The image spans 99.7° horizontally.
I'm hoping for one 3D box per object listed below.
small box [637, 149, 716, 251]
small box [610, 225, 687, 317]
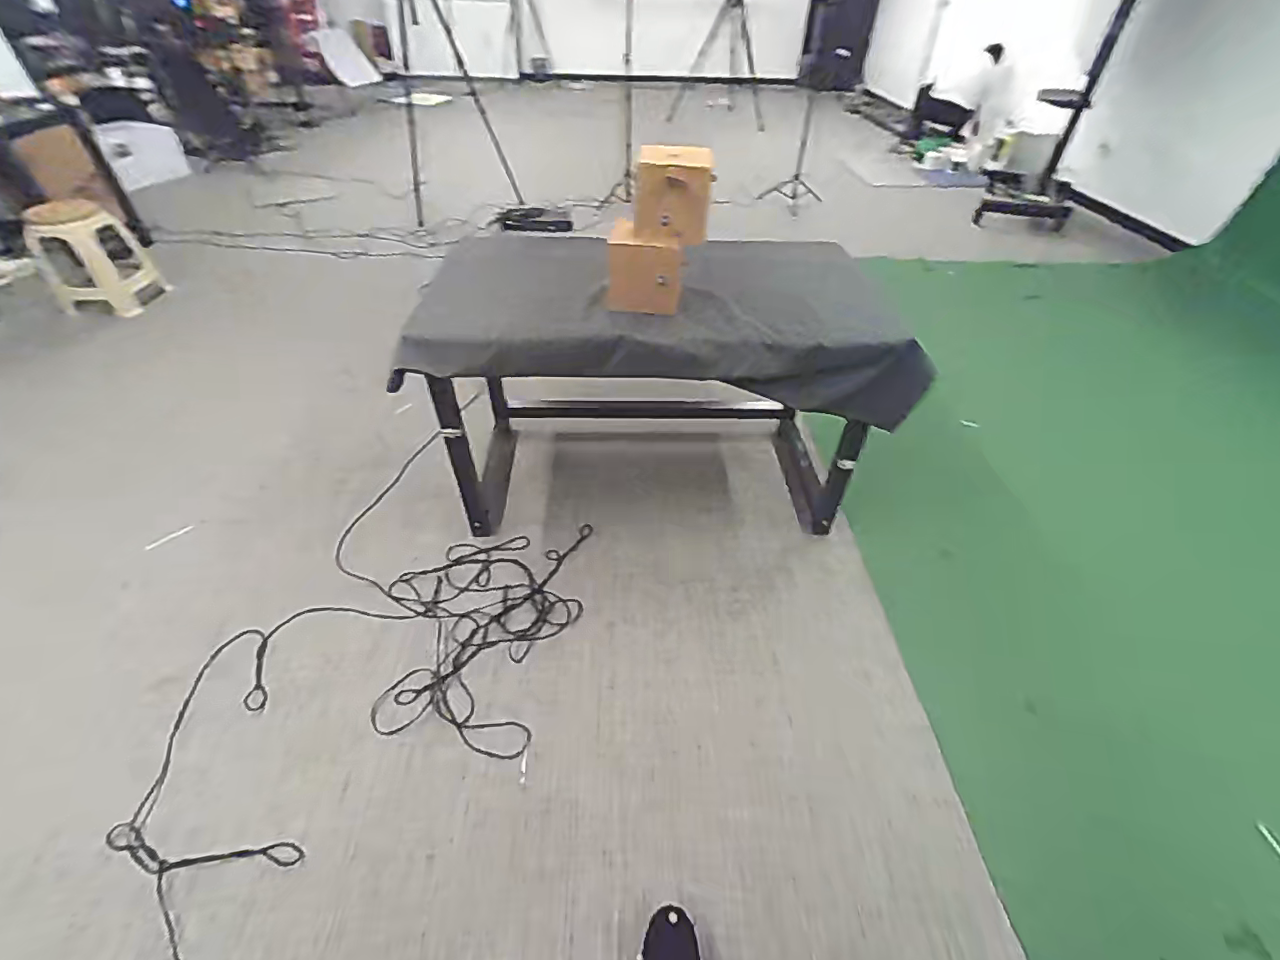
[{"bbox_3d":[0.083,-0.653,1.260,0.168,0.176,0.179,4,43,2],"label":"small box"},{"bbox_3d":[0.023,-0.520,1.351,0.179,0.176,0.168,4,42,3],"label":"small box"}]
